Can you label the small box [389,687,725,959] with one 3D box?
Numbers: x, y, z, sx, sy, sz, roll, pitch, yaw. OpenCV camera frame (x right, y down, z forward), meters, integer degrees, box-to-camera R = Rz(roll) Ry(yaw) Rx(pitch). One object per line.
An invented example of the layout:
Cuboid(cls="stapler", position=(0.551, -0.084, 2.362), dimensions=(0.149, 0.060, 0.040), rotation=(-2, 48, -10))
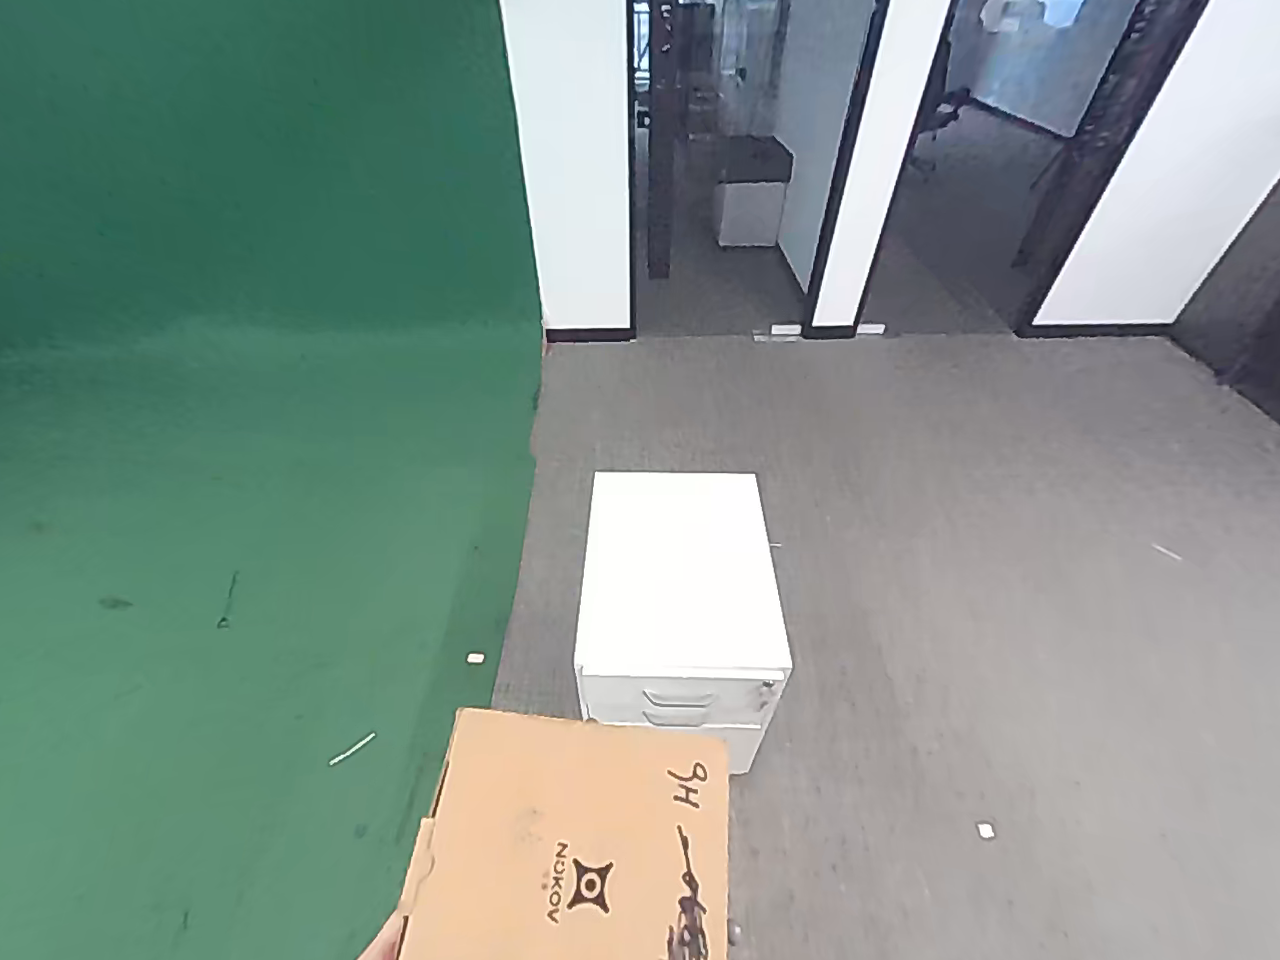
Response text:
Cuboid(cls="small box", position=(-0.046, 0.255, 0.379), dimensions=(0.179, 0.176, 0.168), rotation=(8, 60, -2))
